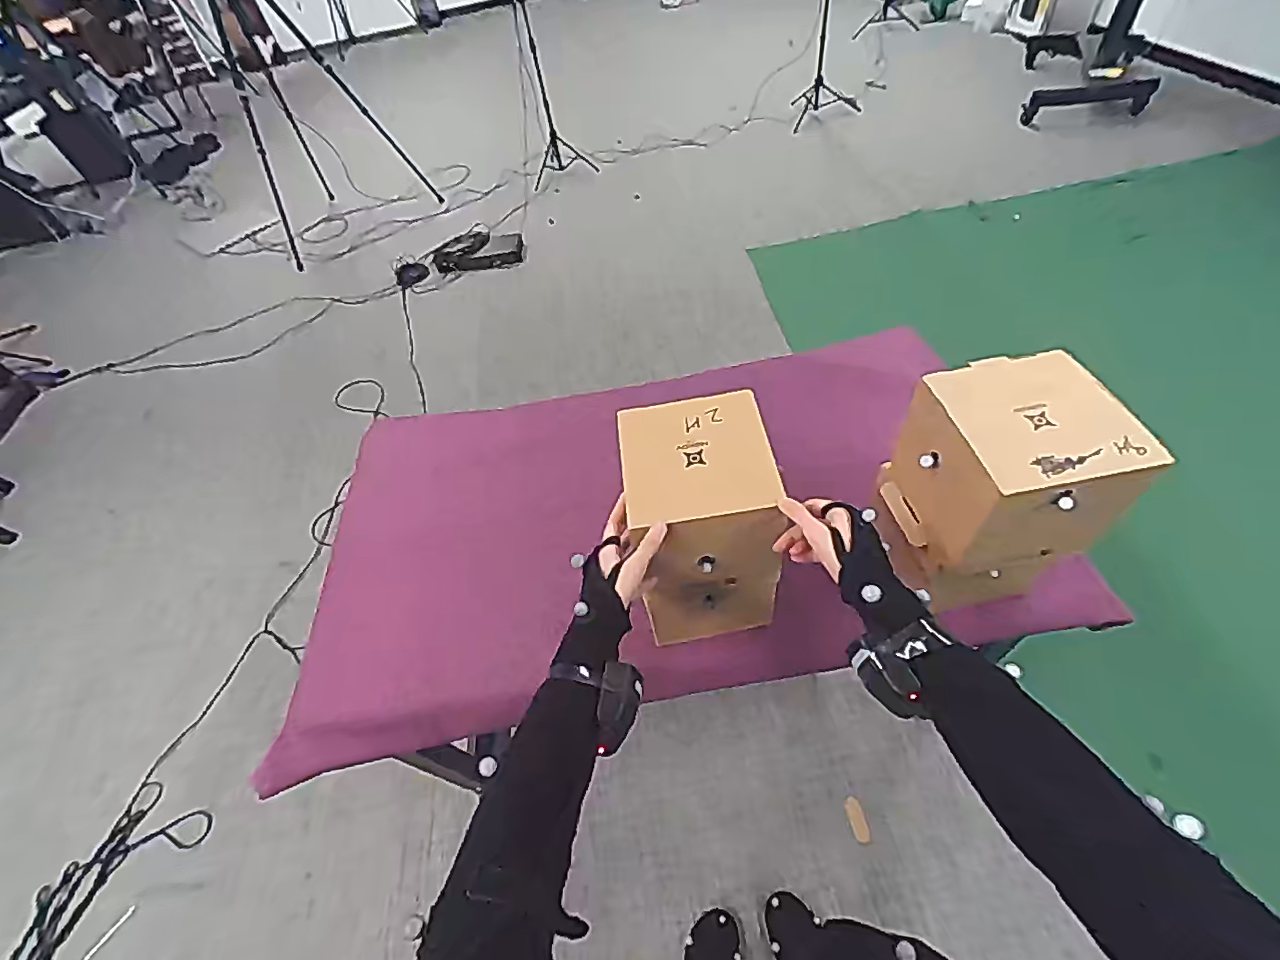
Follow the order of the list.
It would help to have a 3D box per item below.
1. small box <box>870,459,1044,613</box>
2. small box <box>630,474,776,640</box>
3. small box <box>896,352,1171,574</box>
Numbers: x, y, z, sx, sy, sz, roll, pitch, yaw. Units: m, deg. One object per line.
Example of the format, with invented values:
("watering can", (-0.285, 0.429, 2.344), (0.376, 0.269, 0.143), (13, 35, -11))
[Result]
("small box", (0.446, 0.070, 0.764), (0.179, 0.176, 0.168), (-12, 51, 0))
("small box", (0.091, 0.119, 0.794), (0.179, 0.176, 0.168), (-10, 51, 2))
("small box", (0.422, -0.017, 0.625), (0.168, 0.176, 0.179), (-11, 51, 2))
